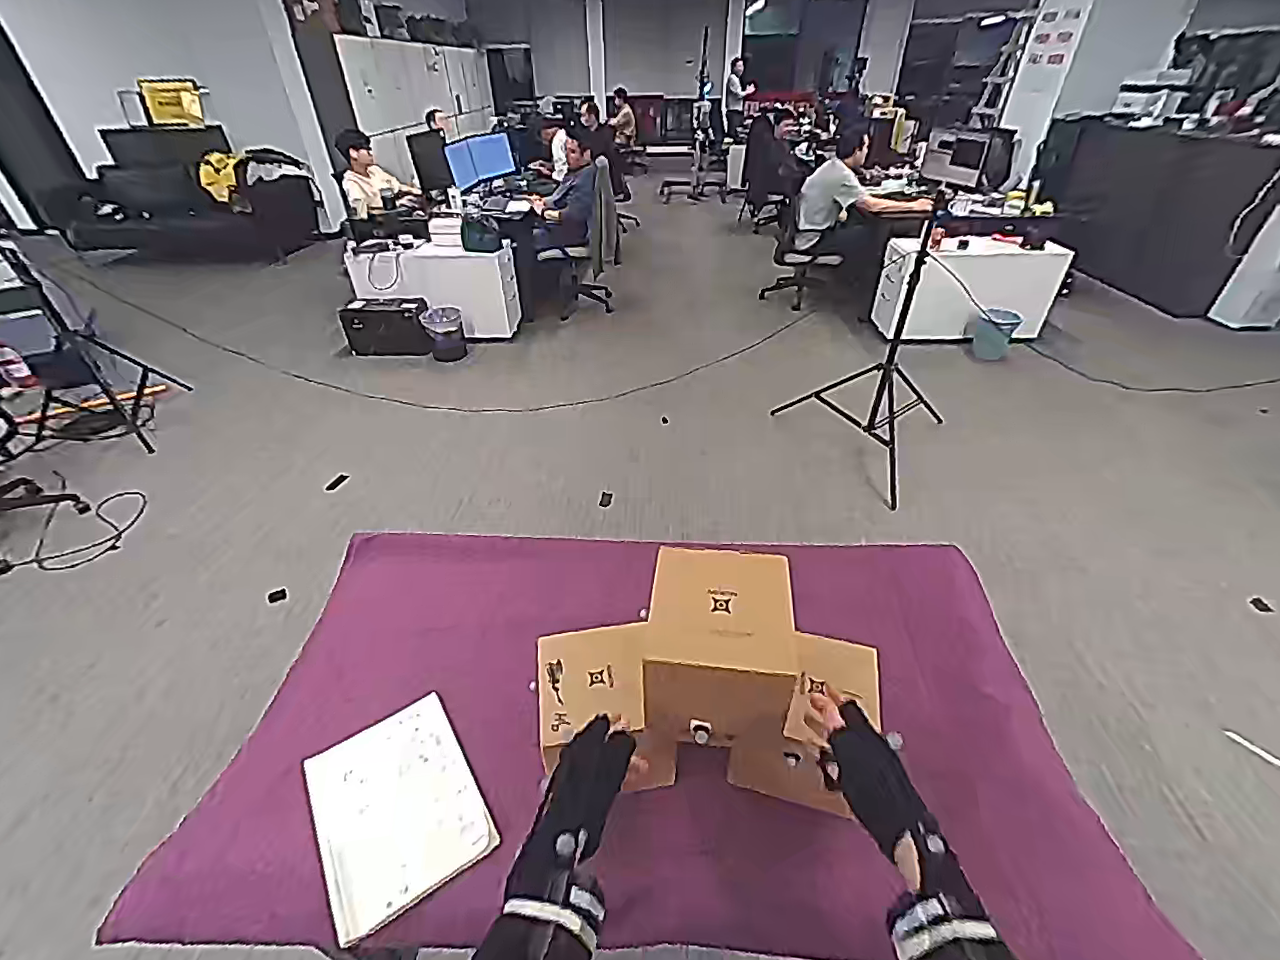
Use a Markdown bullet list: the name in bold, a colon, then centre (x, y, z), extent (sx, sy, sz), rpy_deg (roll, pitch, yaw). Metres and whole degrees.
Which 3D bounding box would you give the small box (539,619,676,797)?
- **small box**: centre (-0.050, 0.326, 0.781), extent (0.179, 0.176, 0.168), rpy_deg (-6, 36, -8)

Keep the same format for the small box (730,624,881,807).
- **small box**: centre (0.228, 0.328, 0.767), extent (0.179, 0.176, 0.168), rpy_deg (9, 38, 14)

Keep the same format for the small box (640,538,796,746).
- **small box**: centre (0.094, 0.198, 0.676), extent (0.168, 0.176, 0.179), rpy_deg (3, 37, 8)
